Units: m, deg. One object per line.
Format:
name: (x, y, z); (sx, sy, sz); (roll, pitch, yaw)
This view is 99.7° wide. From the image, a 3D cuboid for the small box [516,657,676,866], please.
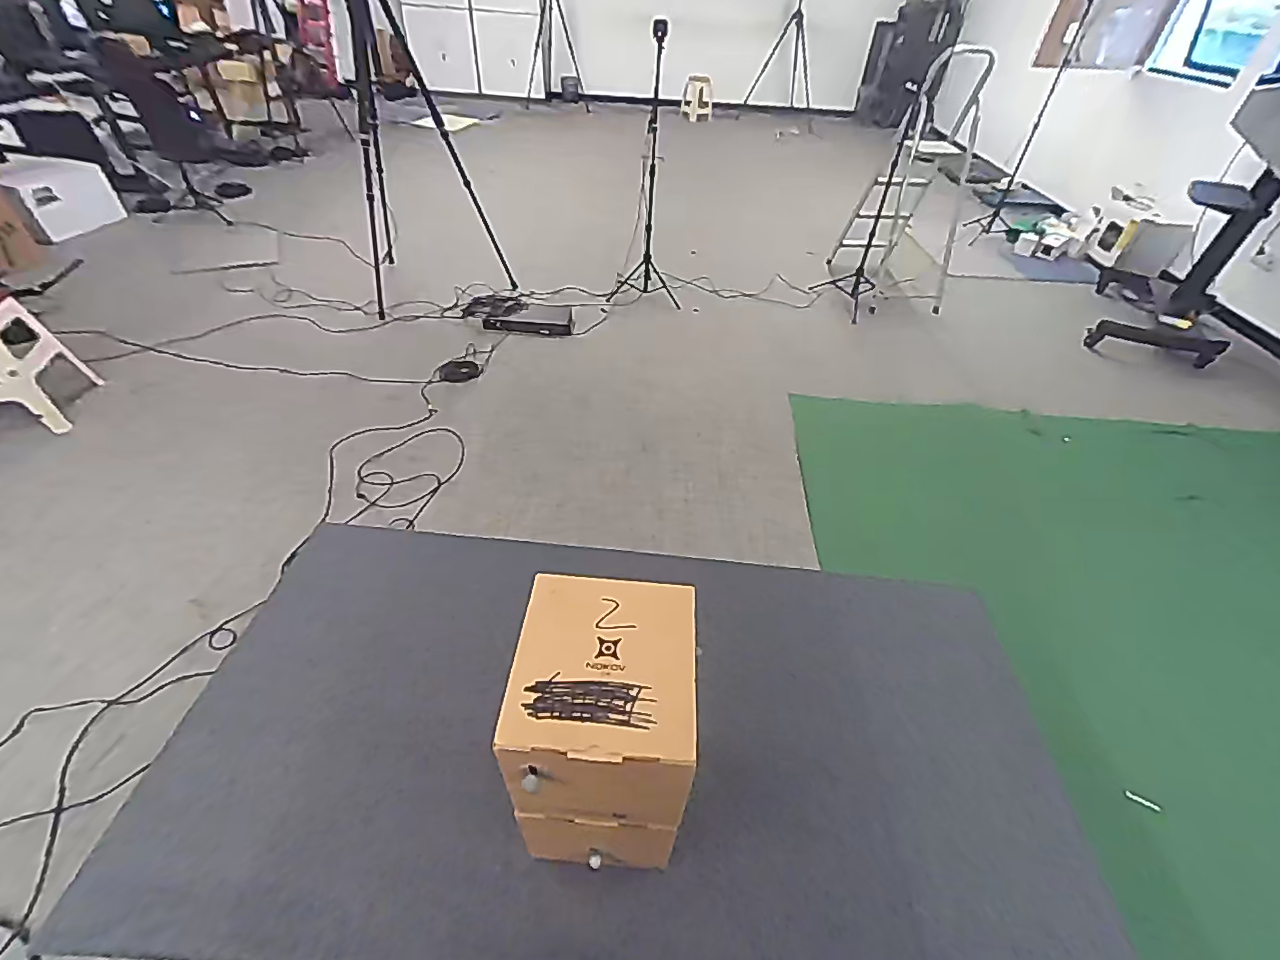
small box: (-0.046, 0.344, 0.662); (0.168, 0.176, 0.179); (4, 43, 0)
